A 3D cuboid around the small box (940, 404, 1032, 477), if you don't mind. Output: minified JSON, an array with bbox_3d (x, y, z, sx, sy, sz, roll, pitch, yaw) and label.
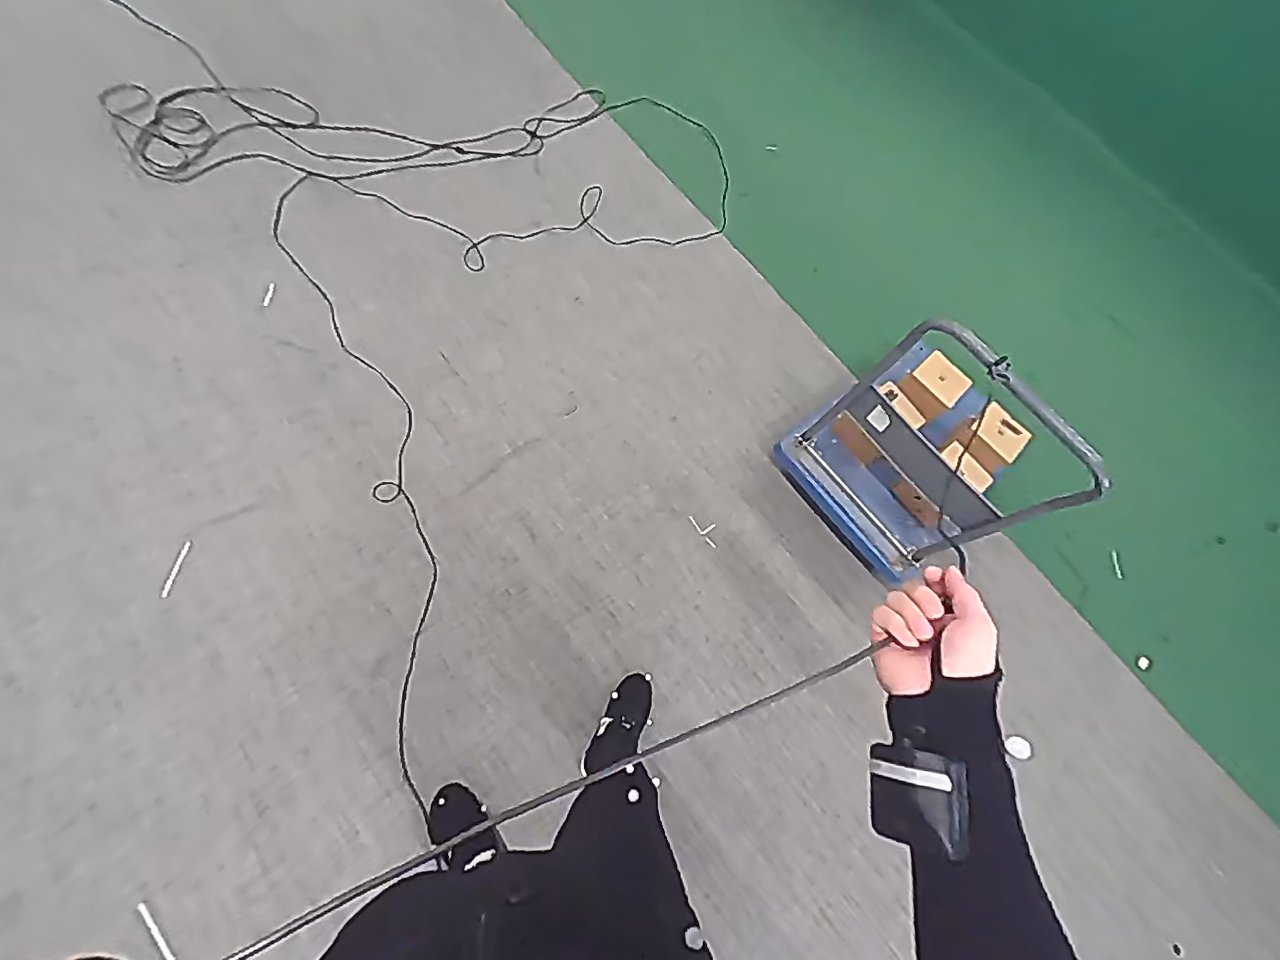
[{"bbox_3d":[1.157,-0.118,1.820,0.179,0.176,0.168,-38,79,-25],"label":"small box"}]

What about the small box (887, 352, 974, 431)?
[{"bbox_3d":[0.988,-0.300,1.860,0.179,0.176,0.168,-38,80,-26],"label":"small box"}]

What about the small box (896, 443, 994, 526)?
[{"bbox_3d":[0.953,0.018,1.706,0.179,0.176,0.168,-33,78,-24],"label":"small box"}]
